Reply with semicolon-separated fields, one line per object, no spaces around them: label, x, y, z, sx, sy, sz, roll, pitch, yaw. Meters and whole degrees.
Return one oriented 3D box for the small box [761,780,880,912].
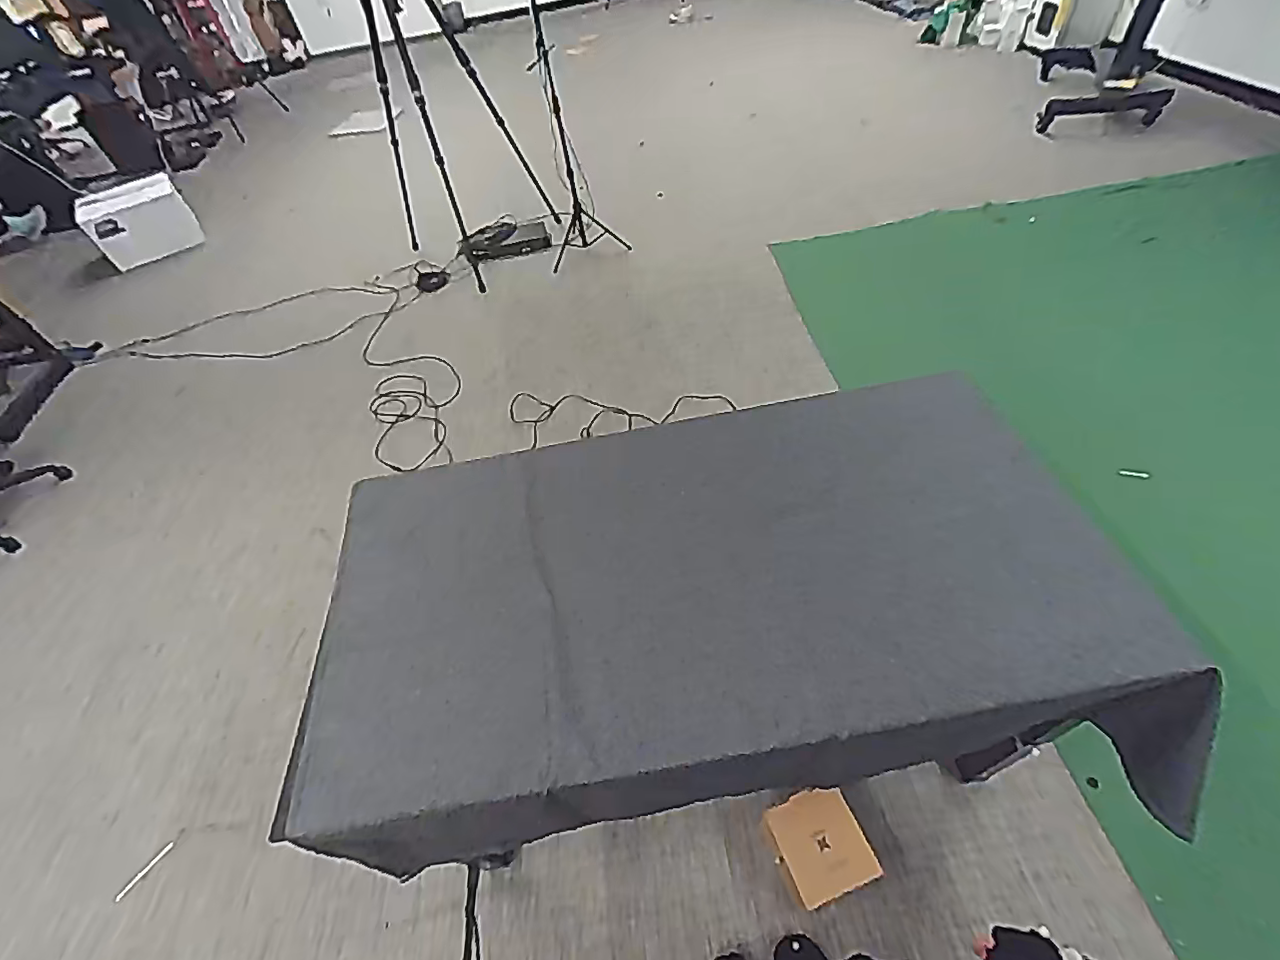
small box;0.364;0.767;1.130;0.168;0.176;0.179;-20;50;-7

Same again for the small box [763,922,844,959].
small box;0.304;0.978;0.974;0.168;0.176;0.179;0;19;46
